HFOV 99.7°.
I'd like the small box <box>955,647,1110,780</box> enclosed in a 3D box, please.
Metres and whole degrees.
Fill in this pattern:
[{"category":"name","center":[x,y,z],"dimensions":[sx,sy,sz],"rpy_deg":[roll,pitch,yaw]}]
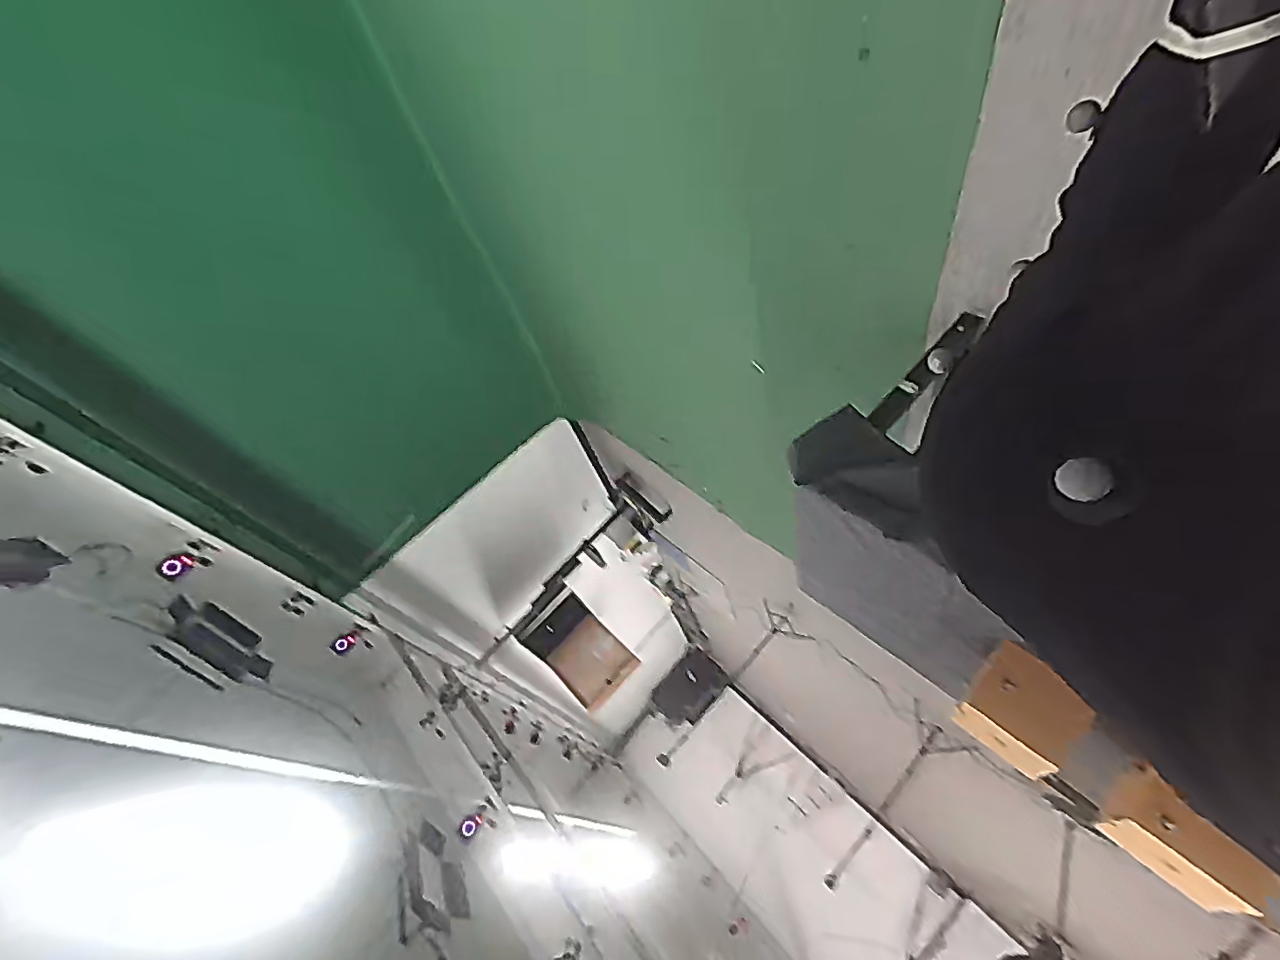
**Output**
[{"category":"small box","center":[0.782,0.463,1.091],"dimensions":[0.179,0.176,0.168],"rpy_deg":[35,163,35]}]

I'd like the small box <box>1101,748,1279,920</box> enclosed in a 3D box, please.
[{"category":"small box","center":[0.969,0.603,0.935],"dimensions":[0.179,0.176,0.168],"rpy_deg":[37,163,36]}]
